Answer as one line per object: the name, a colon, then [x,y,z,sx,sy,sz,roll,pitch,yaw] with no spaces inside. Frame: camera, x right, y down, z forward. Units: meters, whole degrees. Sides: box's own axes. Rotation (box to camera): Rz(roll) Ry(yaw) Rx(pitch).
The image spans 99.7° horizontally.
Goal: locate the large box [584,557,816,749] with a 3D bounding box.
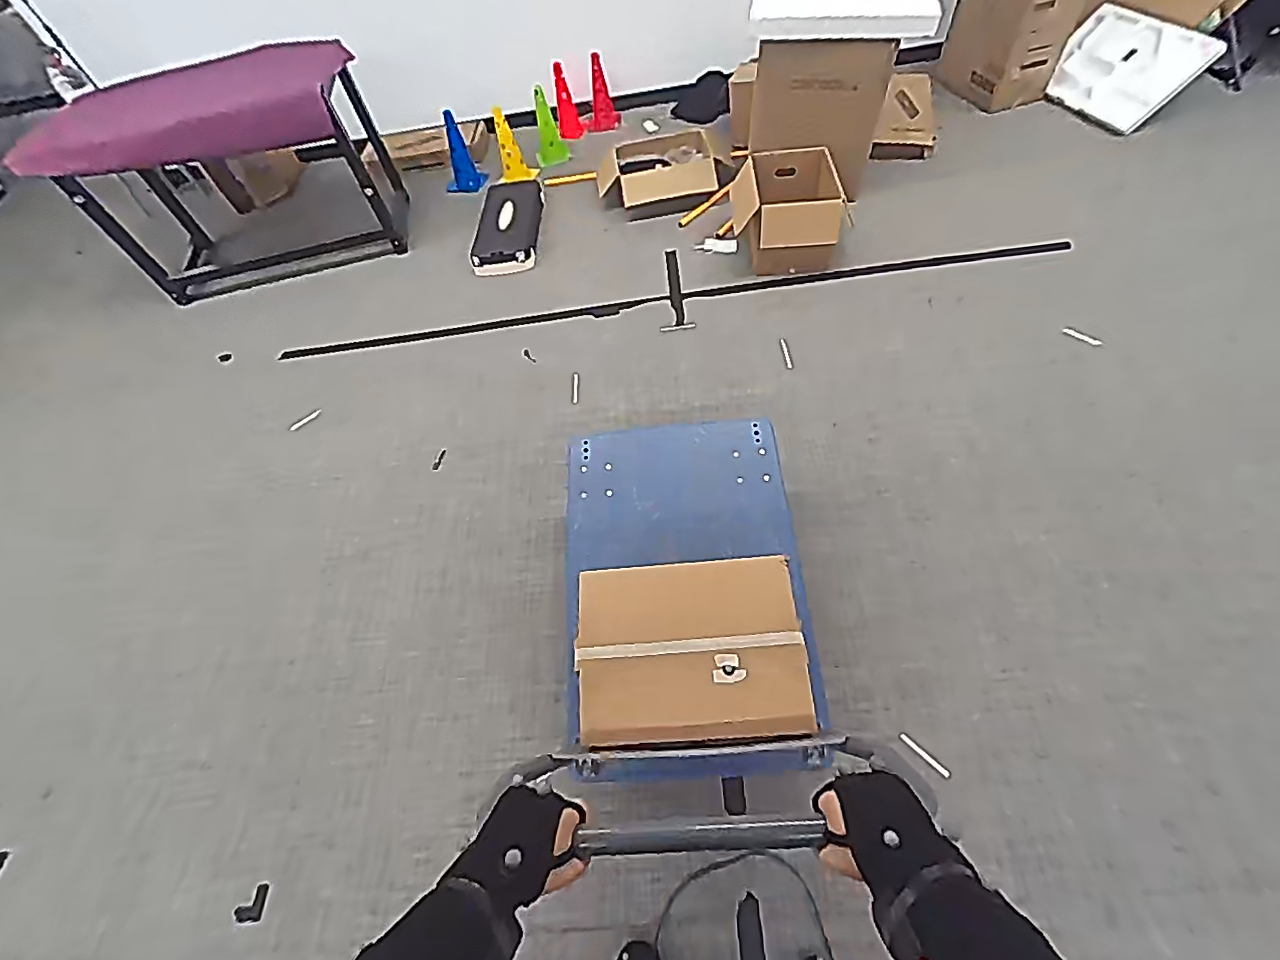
large box: [0.108,0.374,1.131,0.408,0.320,0.320,-5,64,3]
